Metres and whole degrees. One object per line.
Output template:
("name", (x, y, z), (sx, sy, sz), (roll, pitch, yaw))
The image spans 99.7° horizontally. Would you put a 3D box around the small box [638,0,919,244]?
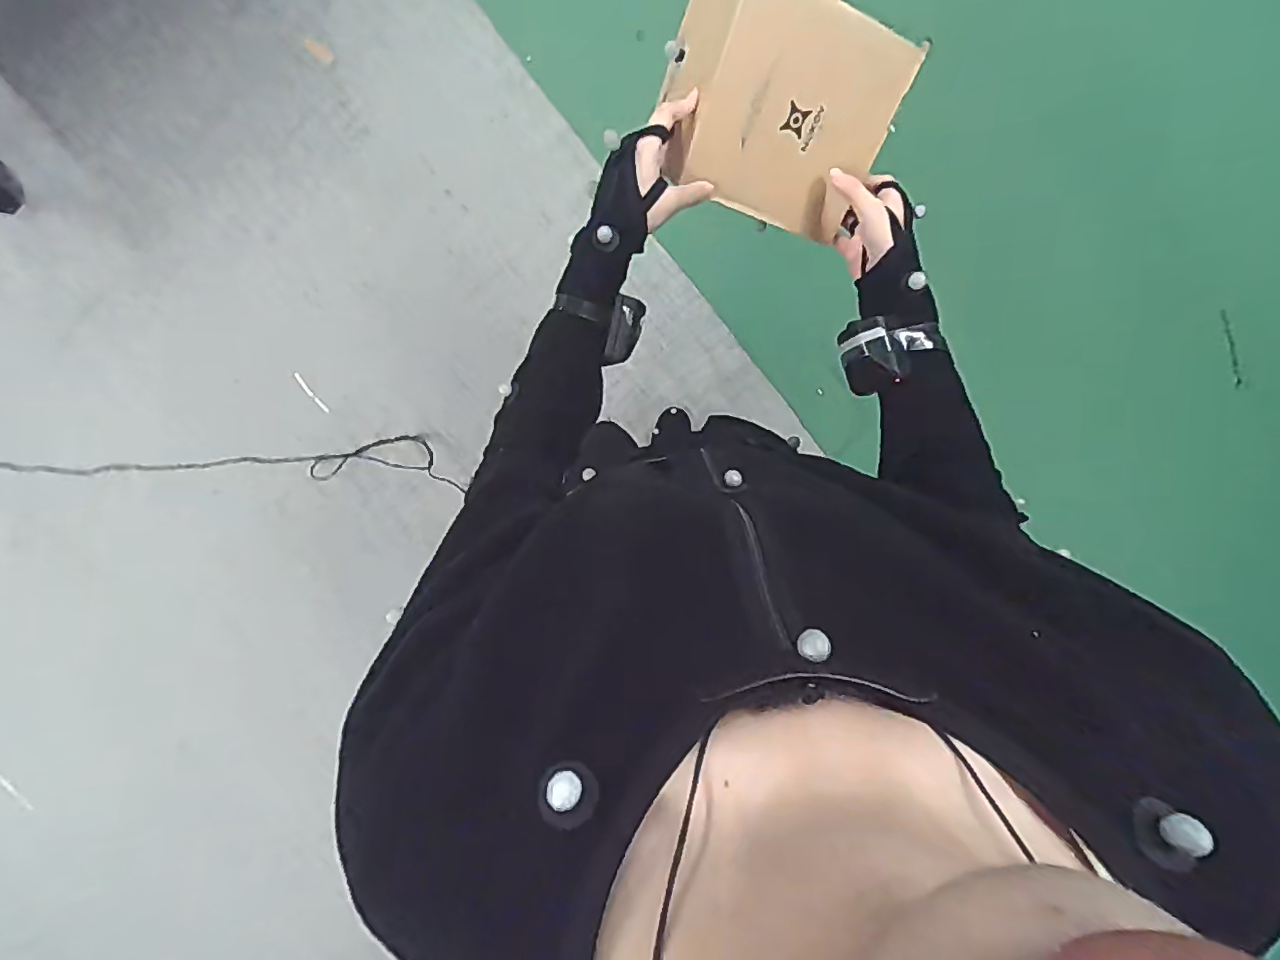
("small box", (0.116, -0.360, 0.530), (0.179, 0.176, 0.168), (10, 123, -21))
